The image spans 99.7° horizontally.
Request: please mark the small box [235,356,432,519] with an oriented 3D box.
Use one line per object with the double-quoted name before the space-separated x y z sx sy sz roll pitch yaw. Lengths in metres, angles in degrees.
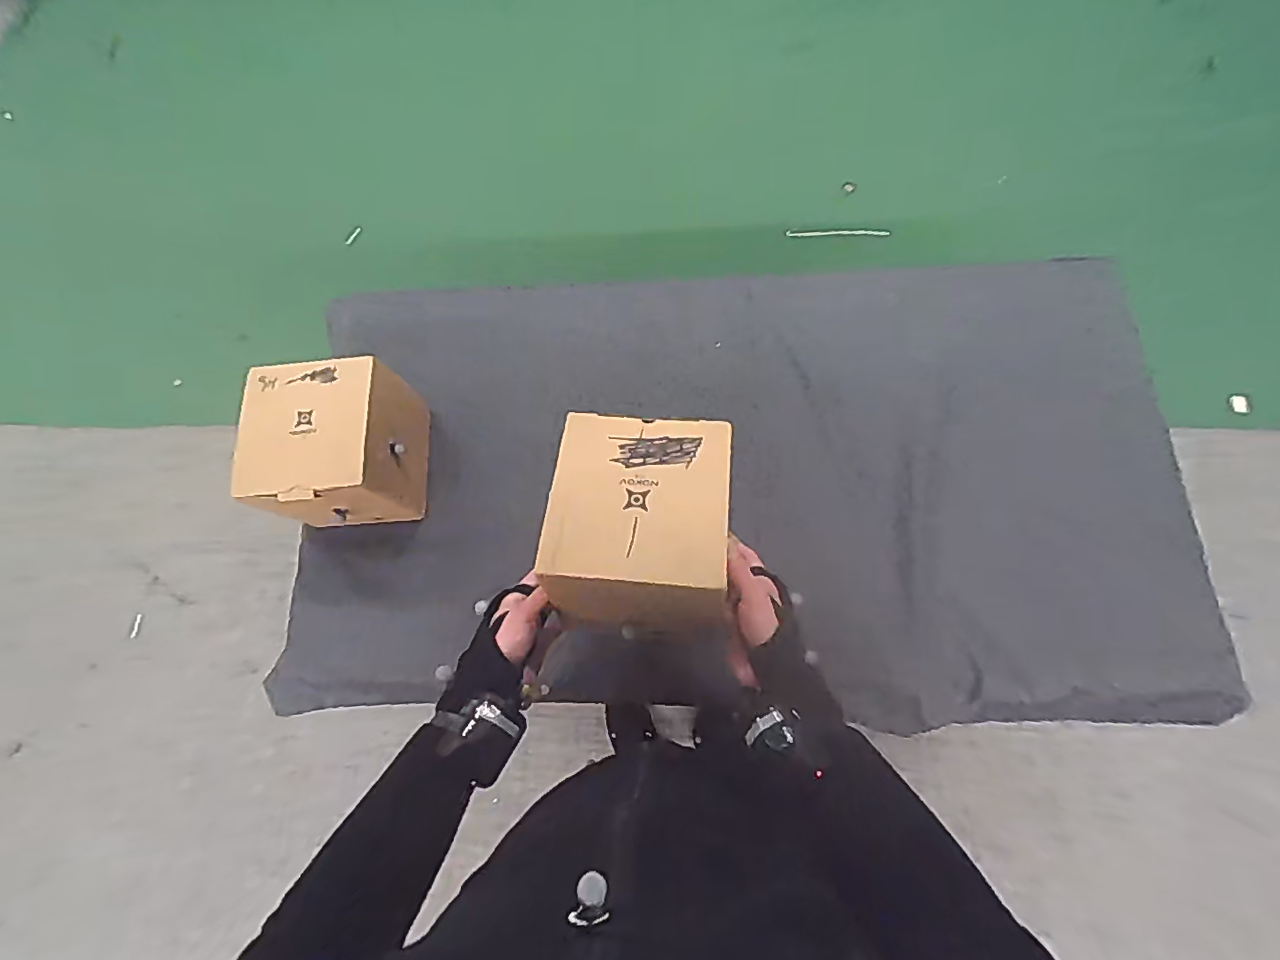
"small box" -0.399 -0.046 0.736 0.168 0.176 0.179 -5 74 4
